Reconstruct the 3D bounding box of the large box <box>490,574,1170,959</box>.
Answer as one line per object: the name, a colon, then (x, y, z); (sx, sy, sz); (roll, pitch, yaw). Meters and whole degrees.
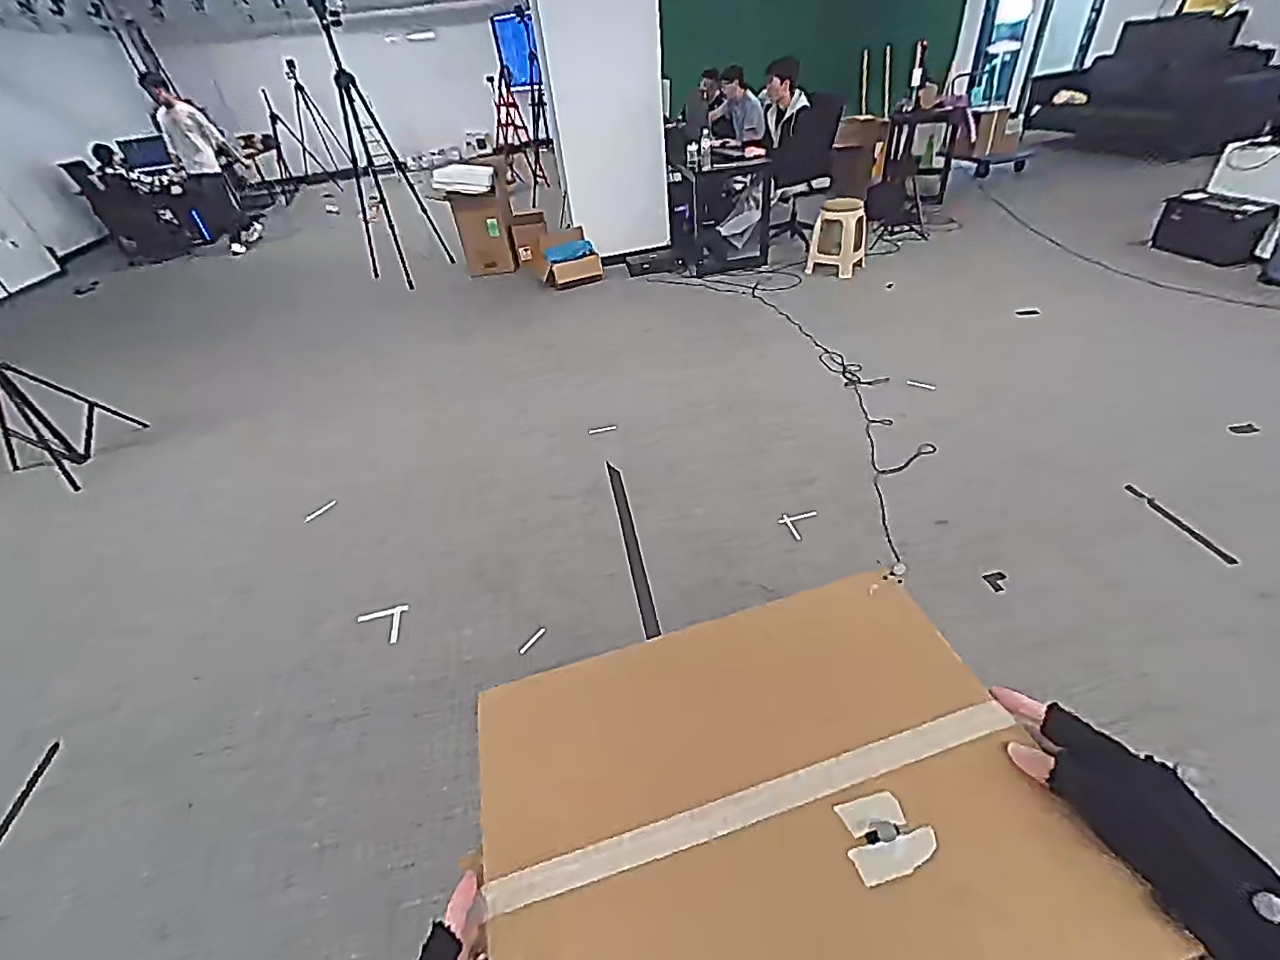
large box: (0.108, 0.350, 0.504); (0.408, 0.320, 0.320); (-15, 42, -8)
